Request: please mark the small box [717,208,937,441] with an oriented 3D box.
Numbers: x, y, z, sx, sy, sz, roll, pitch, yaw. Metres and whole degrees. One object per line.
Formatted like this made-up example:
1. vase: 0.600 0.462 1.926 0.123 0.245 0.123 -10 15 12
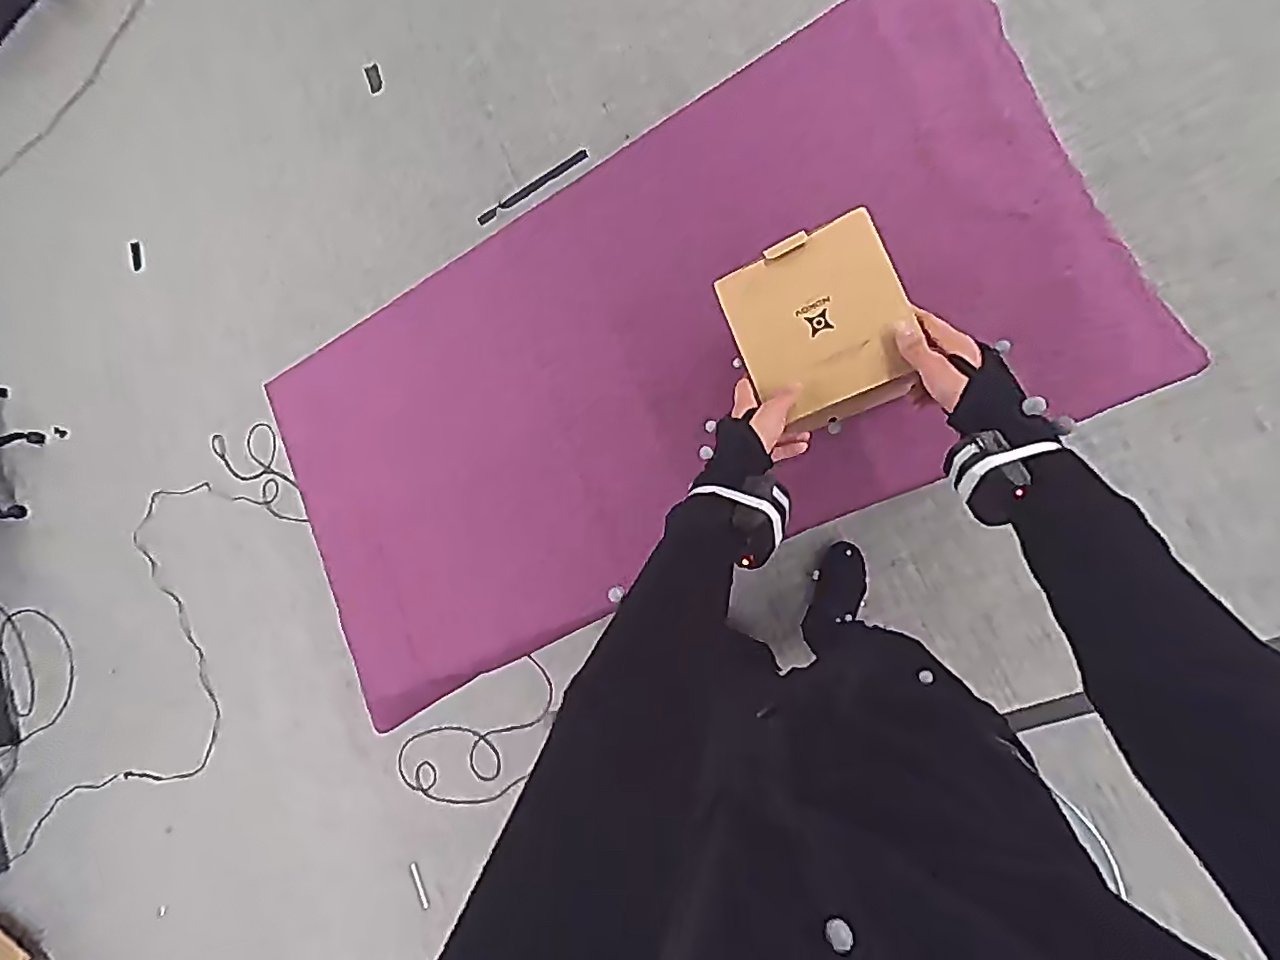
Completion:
1. small box: 0.204 -0.158 0.615 0.168 0.176 0.179 -23 82 17
